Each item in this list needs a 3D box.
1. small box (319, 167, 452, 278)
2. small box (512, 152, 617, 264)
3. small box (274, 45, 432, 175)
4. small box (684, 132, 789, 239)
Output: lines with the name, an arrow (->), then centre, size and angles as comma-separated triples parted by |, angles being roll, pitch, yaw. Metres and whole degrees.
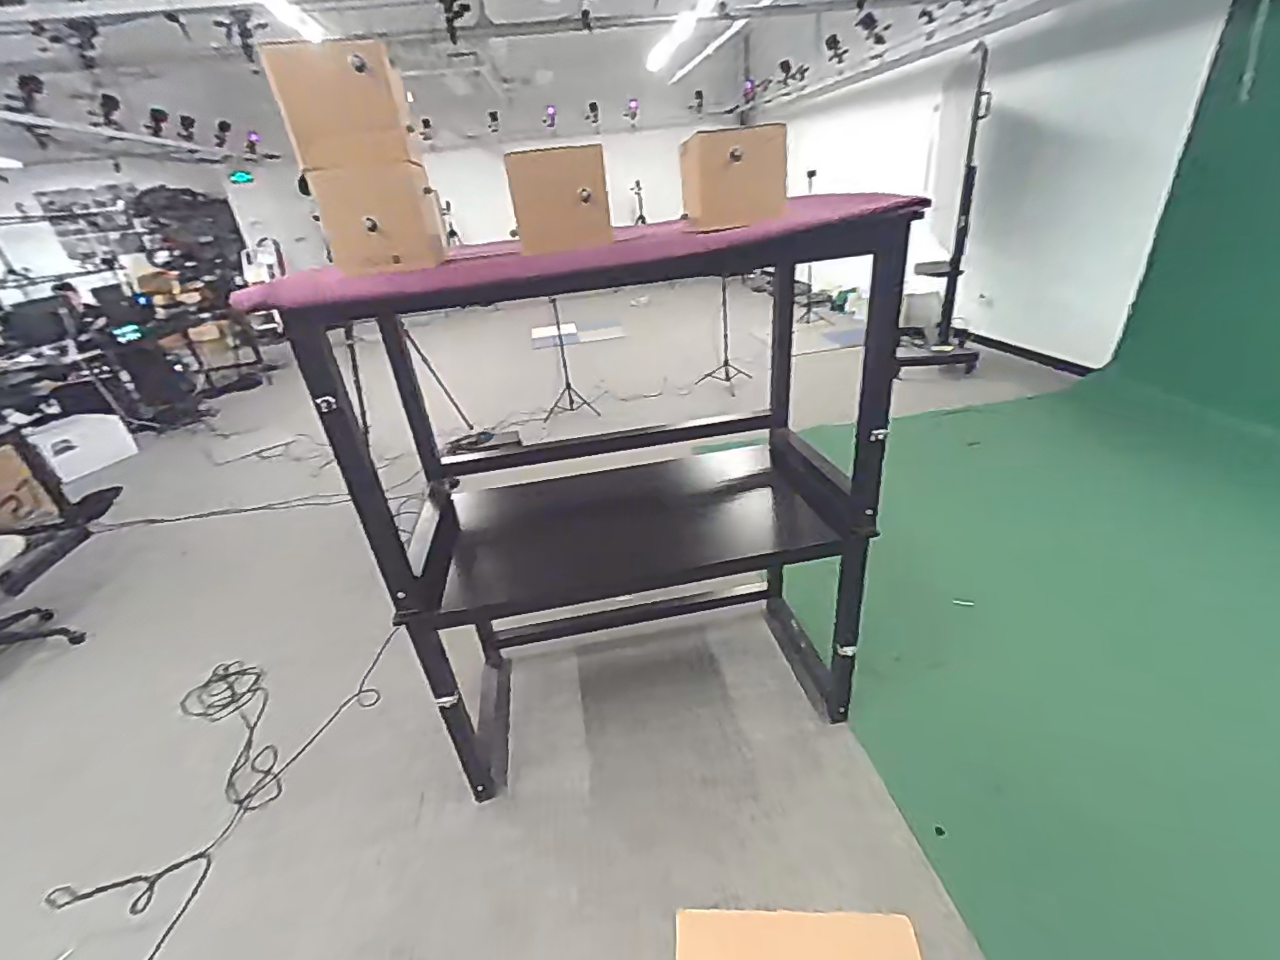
small box -> -0.458, -0.476, 1.007 | 0.168, 0.176, 0.179 | -8, 28, -8
small box -> -0.143, -0.525, 1.049 | 0.179, 0.176, 0.168 | -10, 27, -7
small box -> -0.476, -0.618, 0.929 | 0.179, 0.176, 0.168 | -9, 28, -9
small box -> 0.195, -0.592, 1.105 | 0.179, 0.176, 0.168 | -8, 25, -5
